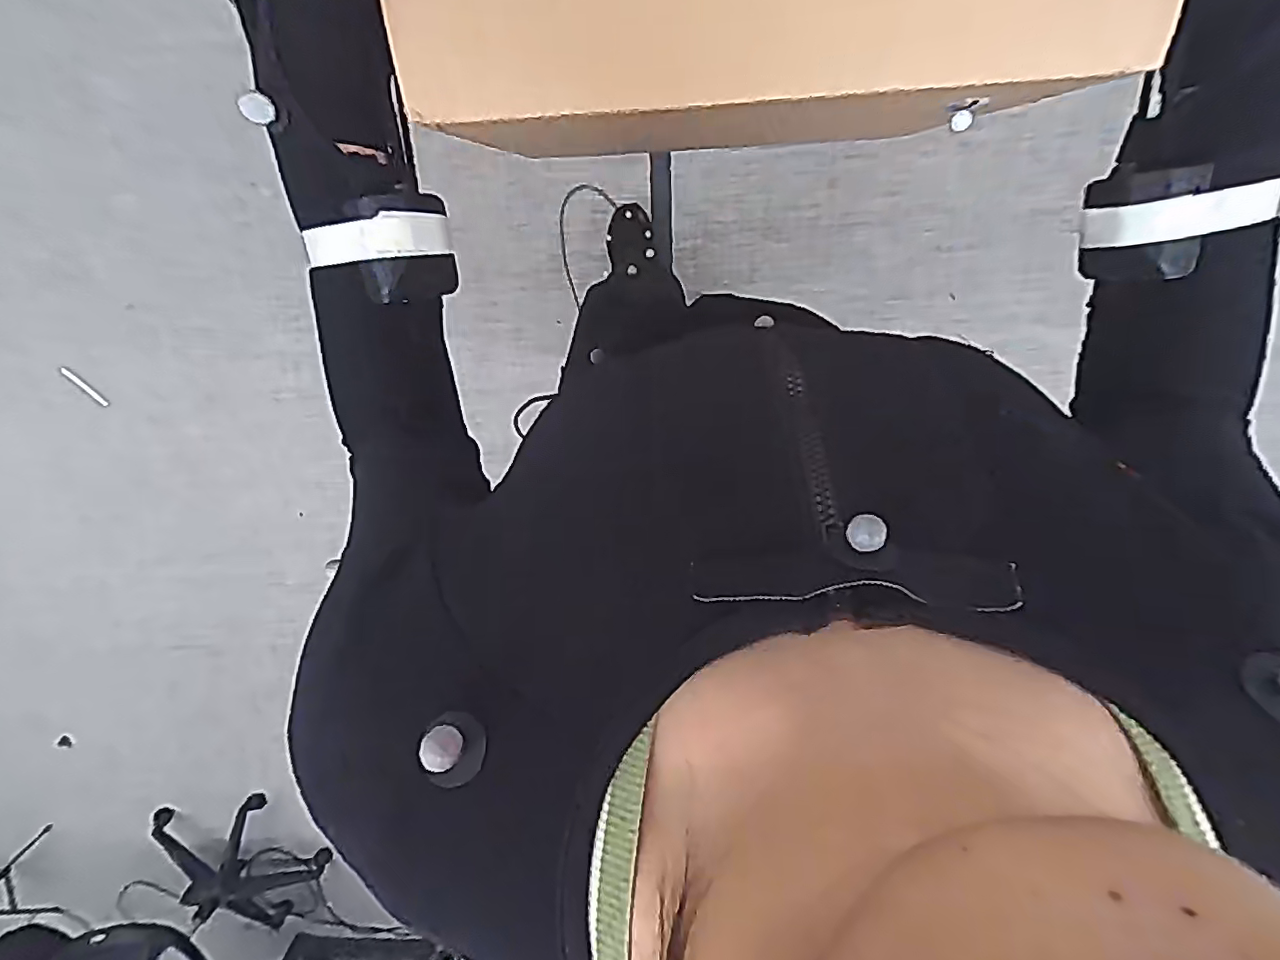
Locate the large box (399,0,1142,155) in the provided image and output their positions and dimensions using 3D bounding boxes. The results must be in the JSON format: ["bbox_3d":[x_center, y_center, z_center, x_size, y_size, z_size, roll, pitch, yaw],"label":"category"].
[{"bbox_3d":[0.066,-0.422,0.370,0.408,0.320,0.320,-2,117,3],"label":"large box"}]
